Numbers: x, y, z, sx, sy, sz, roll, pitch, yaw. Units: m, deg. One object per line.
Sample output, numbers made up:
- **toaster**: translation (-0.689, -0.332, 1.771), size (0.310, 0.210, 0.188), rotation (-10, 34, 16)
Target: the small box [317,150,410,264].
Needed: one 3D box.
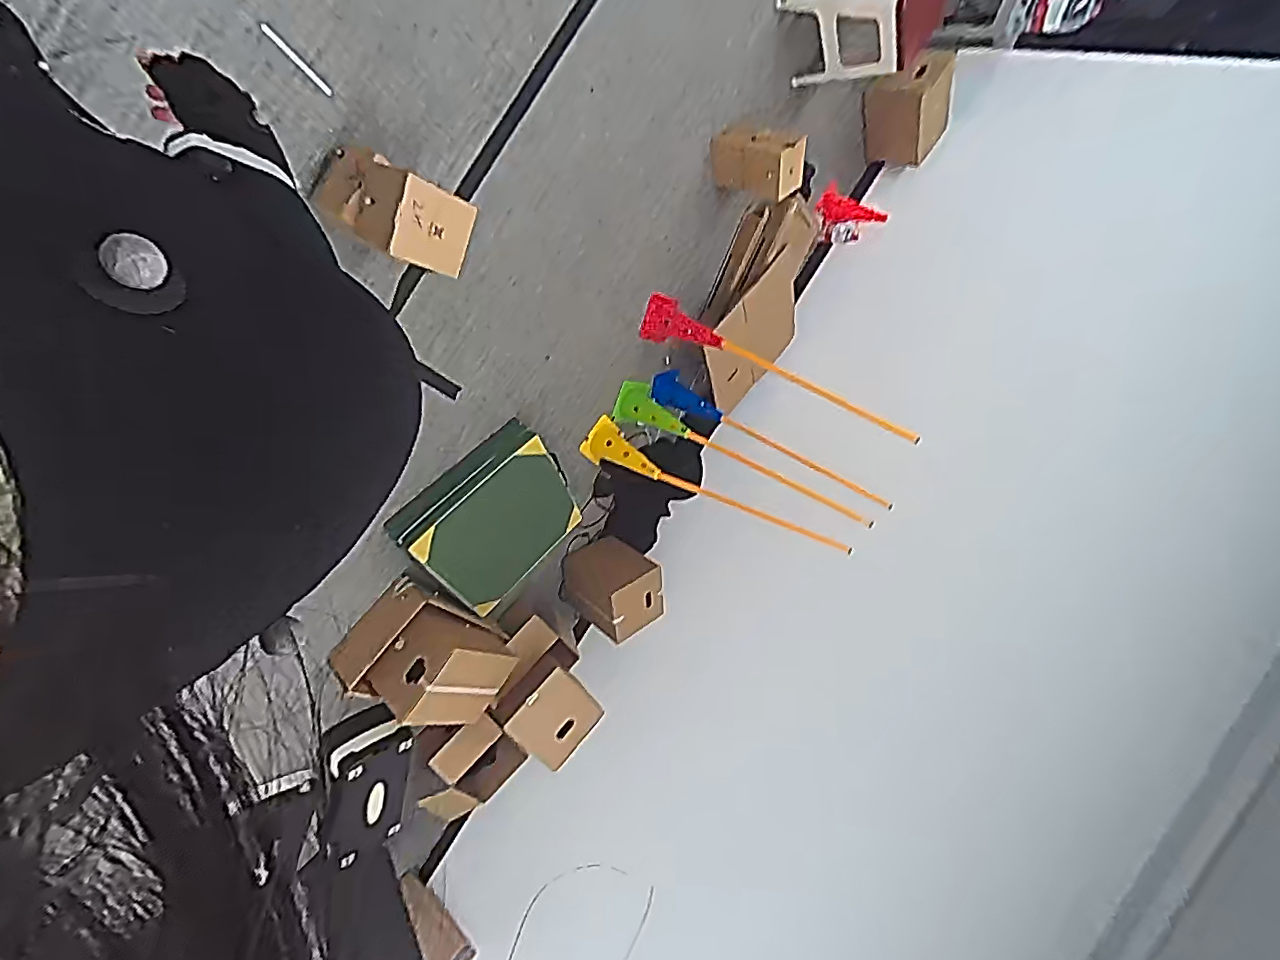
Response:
- **small box**: translation (-0.624, -0.653, 1.287), size (0.168, 0.176, 0.179), rotation (-58, 150, 0)

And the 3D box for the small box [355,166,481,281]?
- **small box**: translation (-0.498, -0.577, 1.212), size (0.179, 0.176, 0.168), rotation (9, 109, -55)
